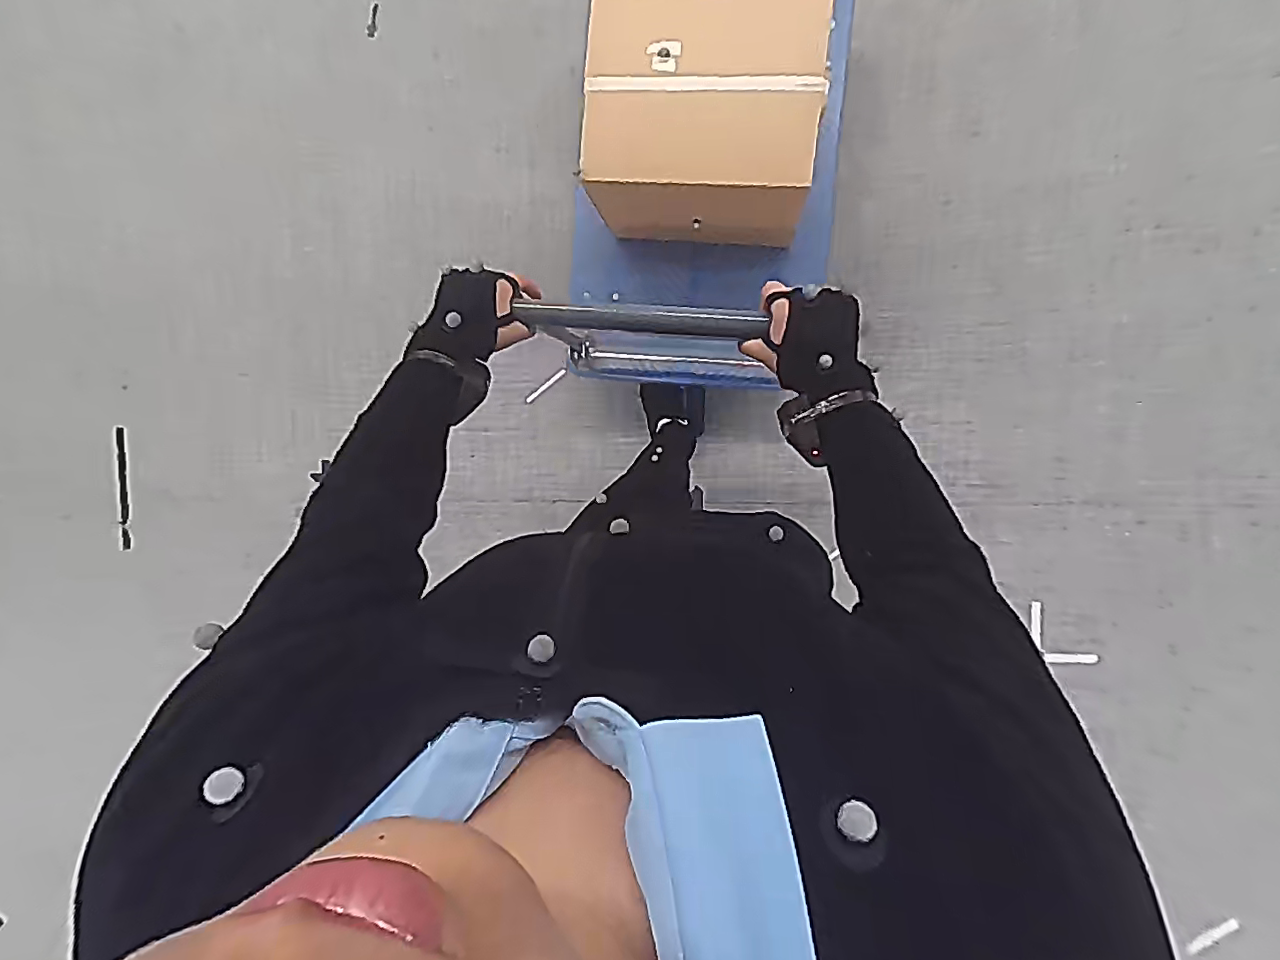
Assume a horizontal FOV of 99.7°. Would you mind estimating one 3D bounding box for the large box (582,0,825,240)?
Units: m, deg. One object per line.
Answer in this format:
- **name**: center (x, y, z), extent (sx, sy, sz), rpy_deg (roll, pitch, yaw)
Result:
- **large box**: center (0.127, -0.688, 1.081), extent (0.408, 0.320, 0.320), rpy_deg (6, 96, 9)
